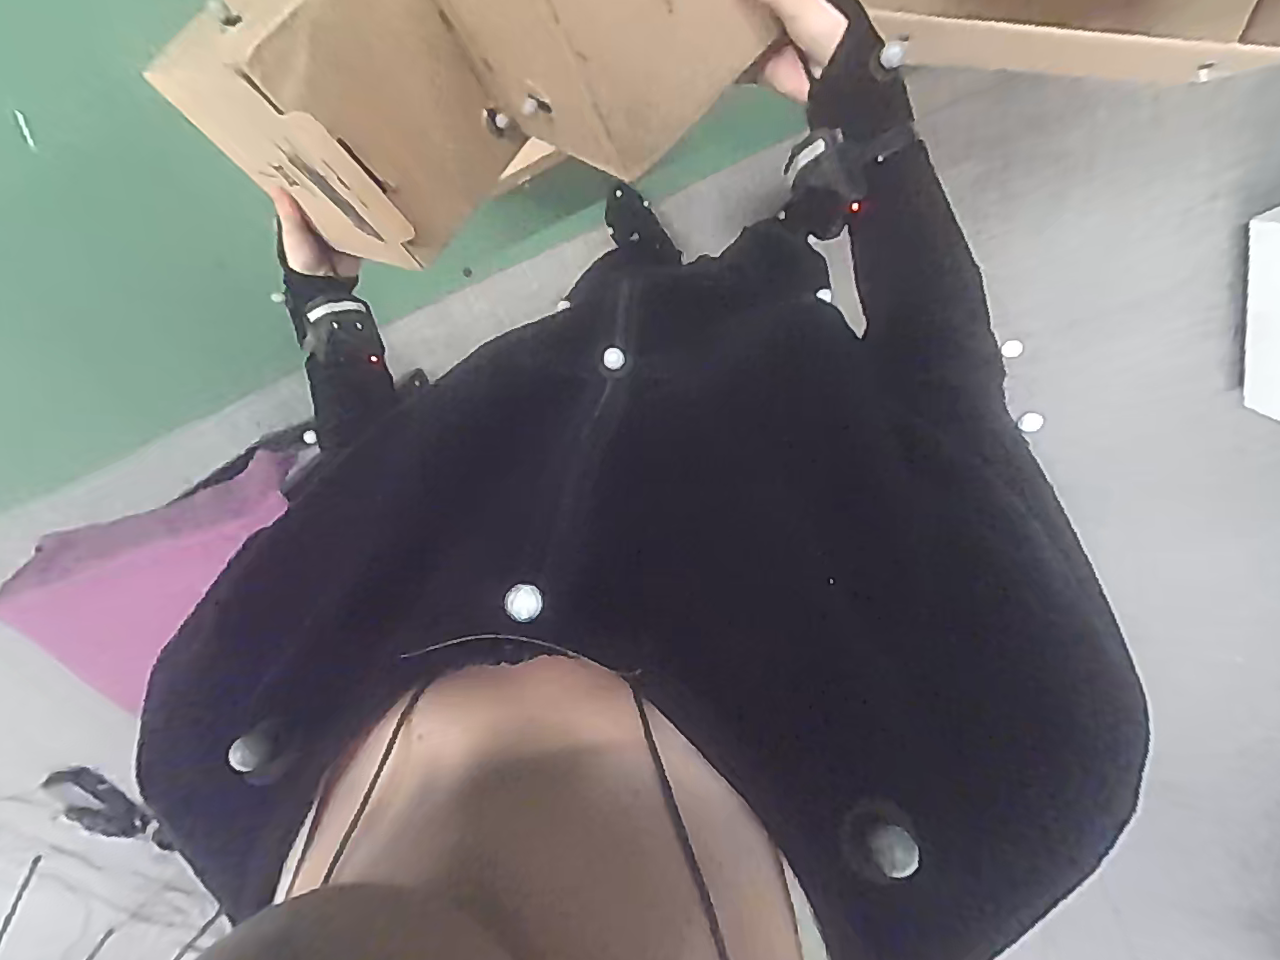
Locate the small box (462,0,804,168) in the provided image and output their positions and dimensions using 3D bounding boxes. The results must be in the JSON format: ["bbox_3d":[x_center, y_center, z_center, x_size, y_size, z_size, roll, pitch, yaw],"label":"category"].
[{"bbox_3d":[-0.023,-0.353,0.355,0.179,0.176,0.168,-46,148,-3],"label":"small box"}]
